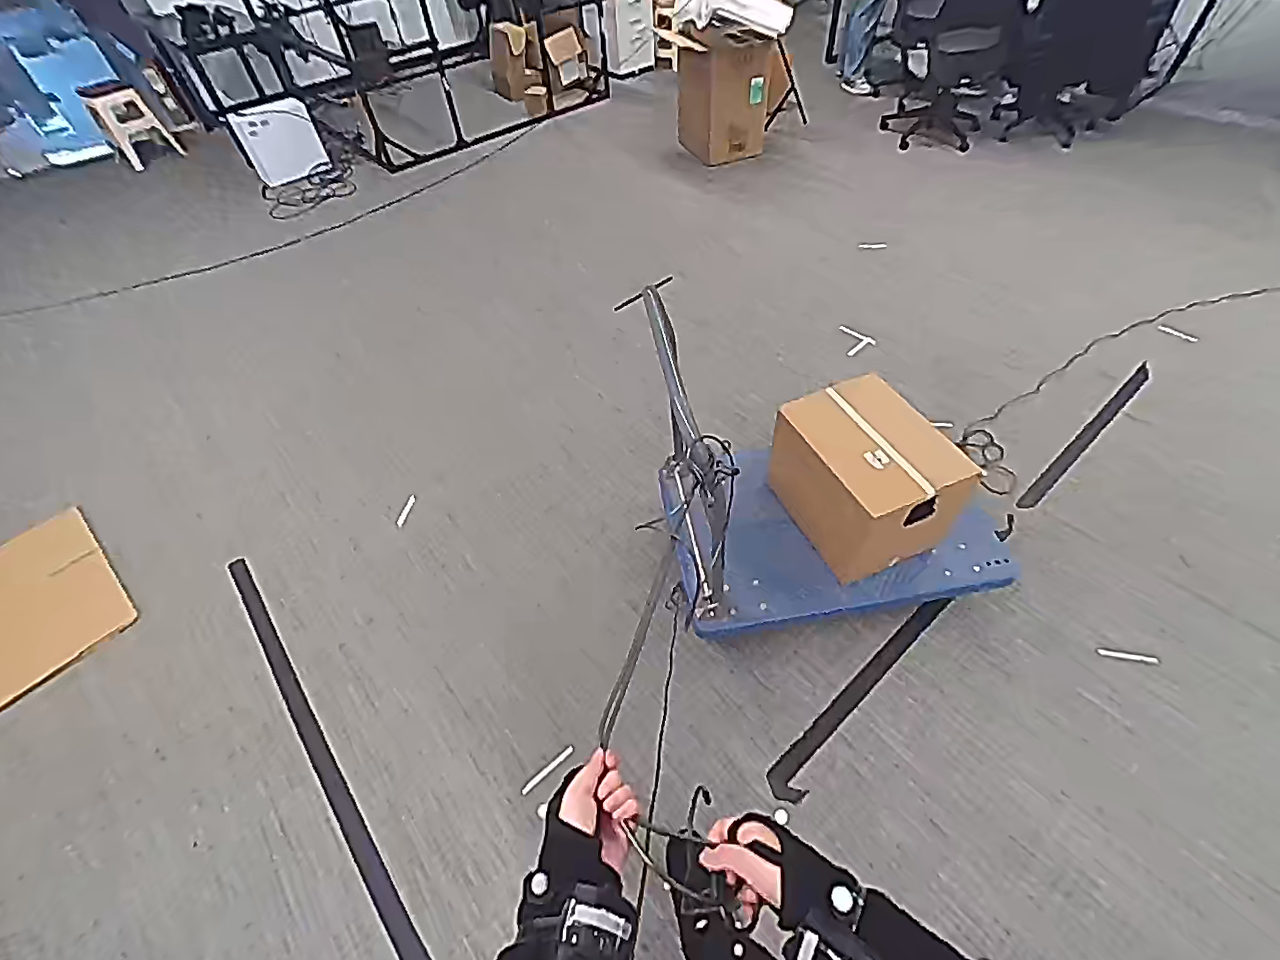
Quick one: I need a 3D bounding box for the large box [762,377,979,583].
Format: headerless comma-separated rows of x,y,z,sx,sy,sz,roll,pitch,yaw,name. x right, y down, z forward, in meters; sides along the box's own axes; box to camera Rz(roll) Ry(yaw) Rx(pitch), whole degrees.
0.579,-0.006,1.455,0.320,0.320,0.408,-21,53,-11,large box
